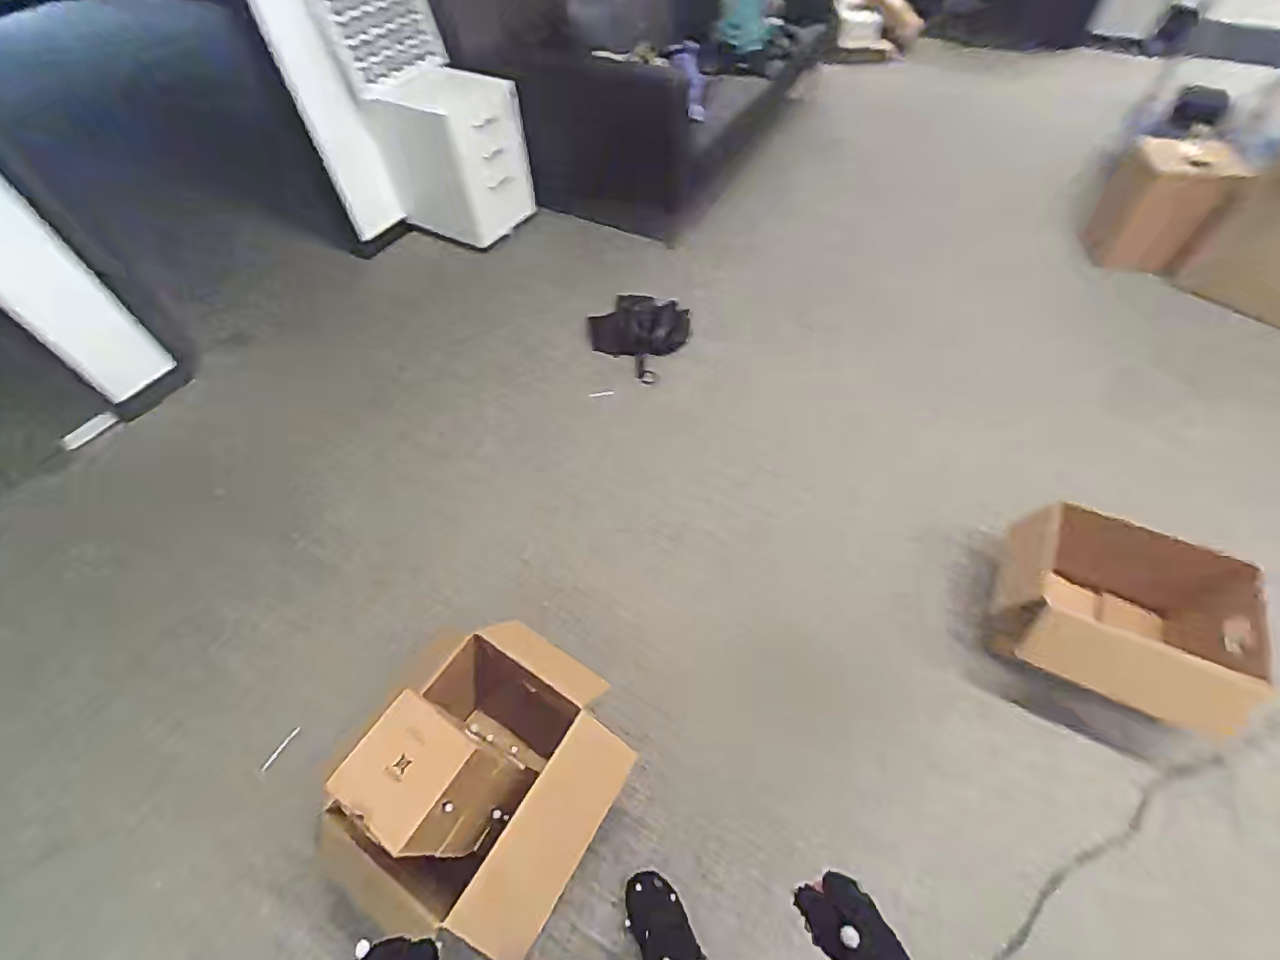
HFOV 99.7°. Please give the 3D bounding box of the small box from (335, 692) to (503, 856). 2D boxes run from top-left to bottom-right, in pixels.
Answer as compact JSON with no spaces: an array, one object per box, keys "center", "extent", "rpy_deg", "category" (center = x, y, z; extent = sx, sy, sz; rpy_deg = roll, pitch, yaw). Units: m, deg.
[{"center":[-0.357,0.497,0.915],"extent":[0.168,0.176,0.179],"rpy_deg":[26,61,18],"category":"small box"}]
